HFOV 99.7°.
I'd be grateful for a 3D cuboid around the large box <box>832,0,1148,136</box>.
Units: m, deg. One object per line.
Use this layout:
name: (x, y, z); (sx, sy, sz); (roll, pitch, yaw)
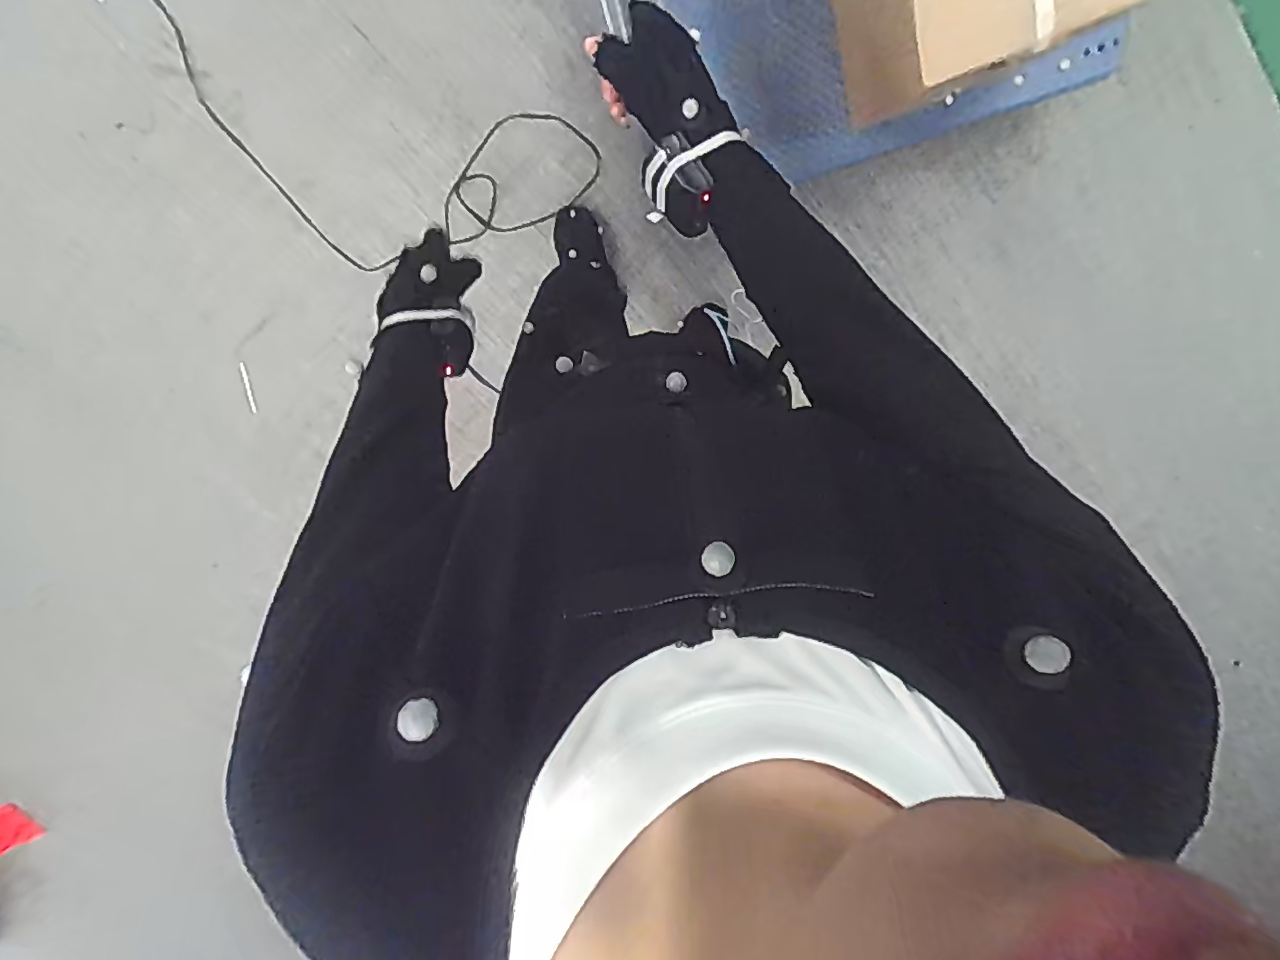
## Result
large box: (0.489, -0.828, 0.821); (0.320, 0.320, 0.408); (-17, 110, 8)
